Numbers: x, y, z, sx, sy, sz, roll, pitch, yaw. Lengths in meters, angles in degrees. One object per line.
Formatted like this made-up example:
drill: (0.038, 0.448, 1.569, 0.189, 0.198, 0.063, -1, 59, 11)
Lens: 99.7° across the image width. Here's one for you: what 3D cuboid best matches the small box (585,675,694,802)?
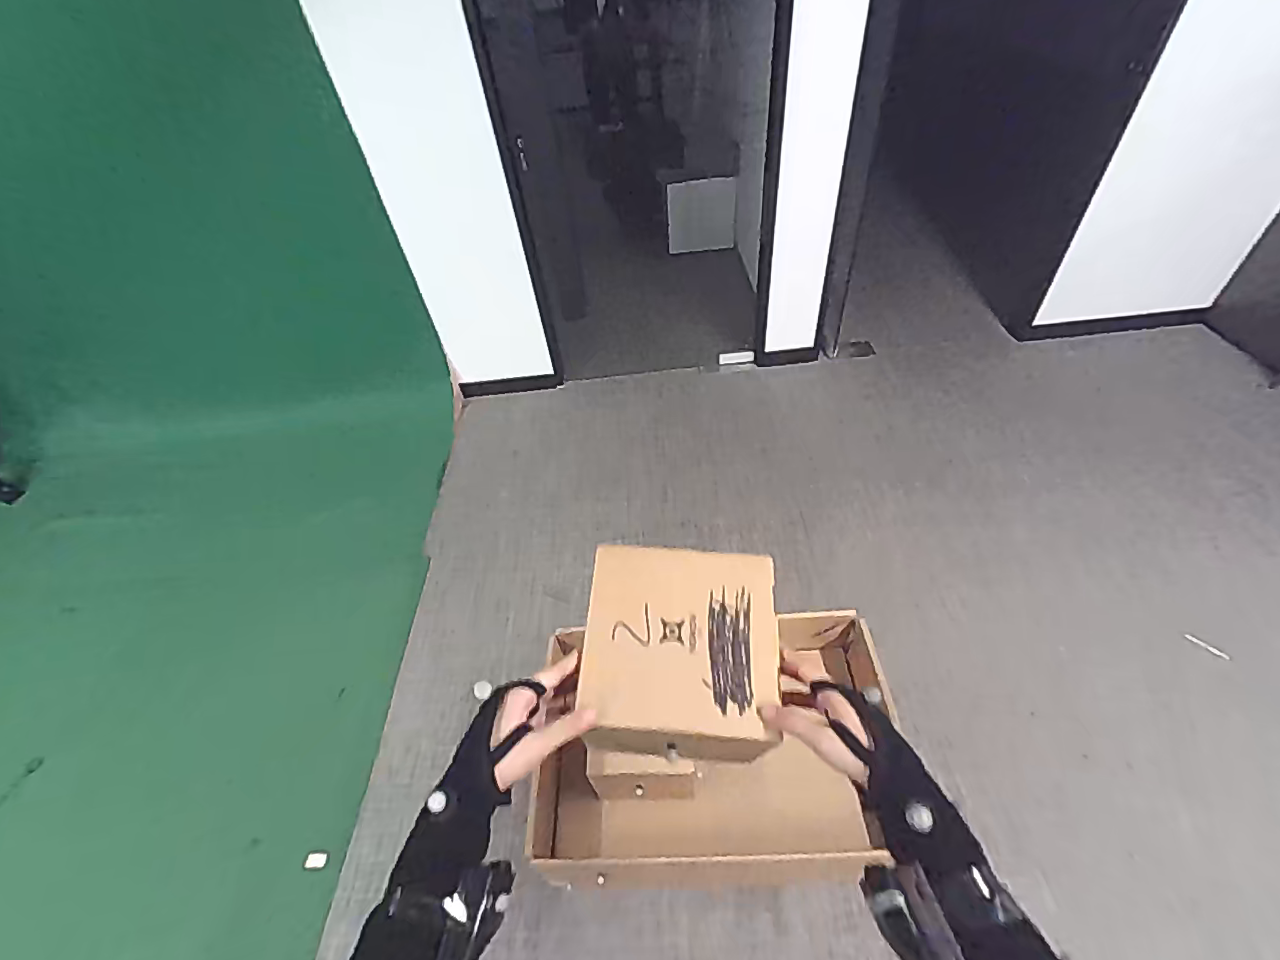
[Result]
small box: (0.007, 0.463, 0.968, 0.179, 0.176, 0.168, -3, 46, 5)
